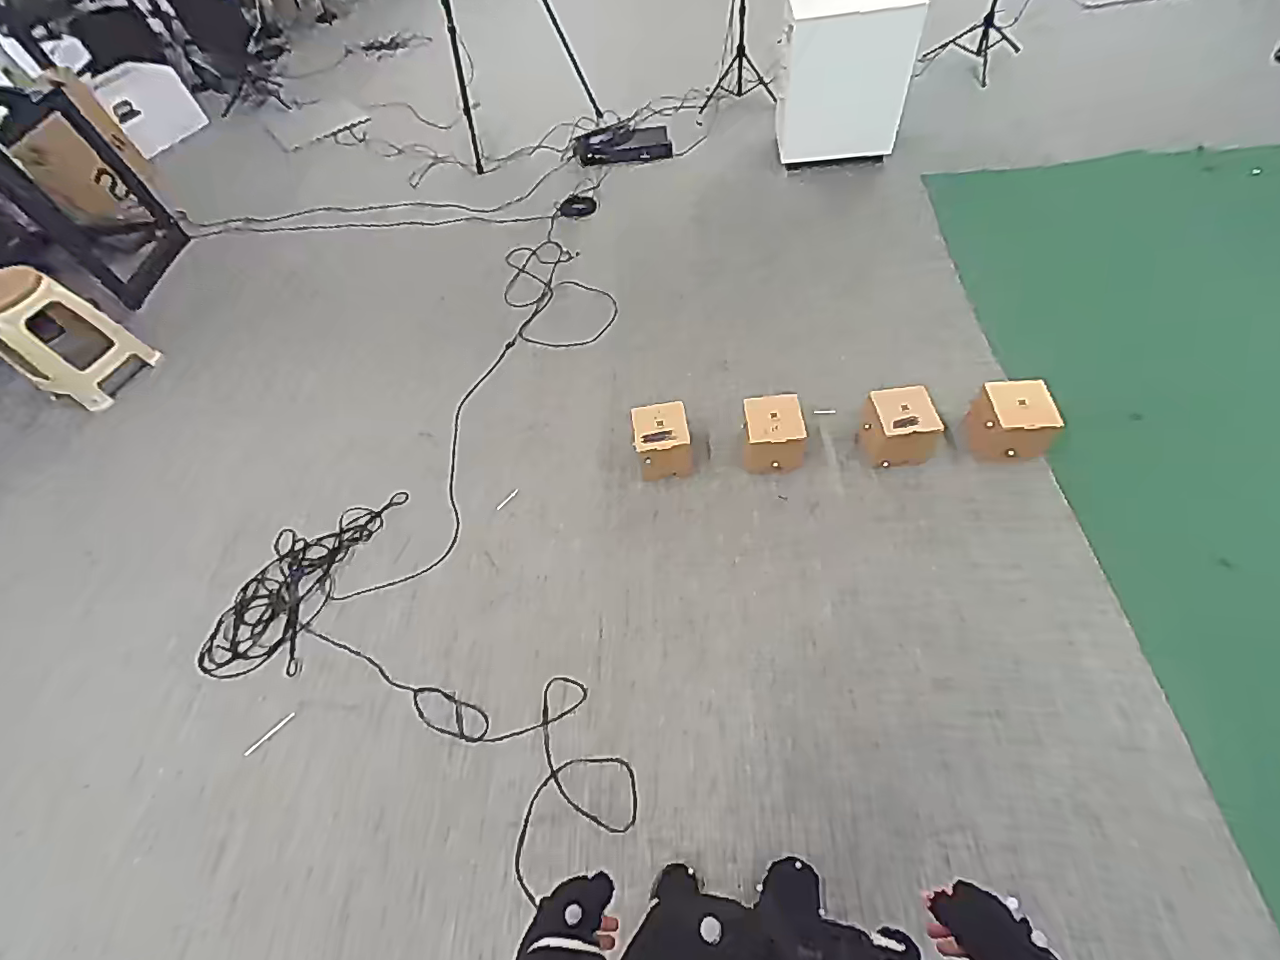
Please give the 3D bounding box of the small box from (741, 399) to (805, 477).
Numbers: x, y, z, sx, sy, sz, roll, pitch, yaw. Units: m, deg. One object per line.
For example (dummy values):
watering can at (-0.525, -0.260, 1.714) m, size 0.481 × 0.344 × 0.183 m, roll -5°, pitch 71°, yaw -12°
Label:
small box at (0.412, -0.130, 1.697) m, size 0.168 × 0.176 × 0.179 m, roll -5°, pitch 57°, yaw 5°

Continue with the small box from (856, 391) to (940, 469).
small box at (0.785, -0.146, 1.664) m, size 0.168 × 0.176 × 0.179 m, roll -6°, pitch 55°, yaw 3°

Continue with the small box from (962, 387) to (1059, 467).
small box at (1.107, -0.158, 1.635) m, size 0.168 × 0.176 × 0.179 m, roll -2°, pitch 57°, yaw 7°
